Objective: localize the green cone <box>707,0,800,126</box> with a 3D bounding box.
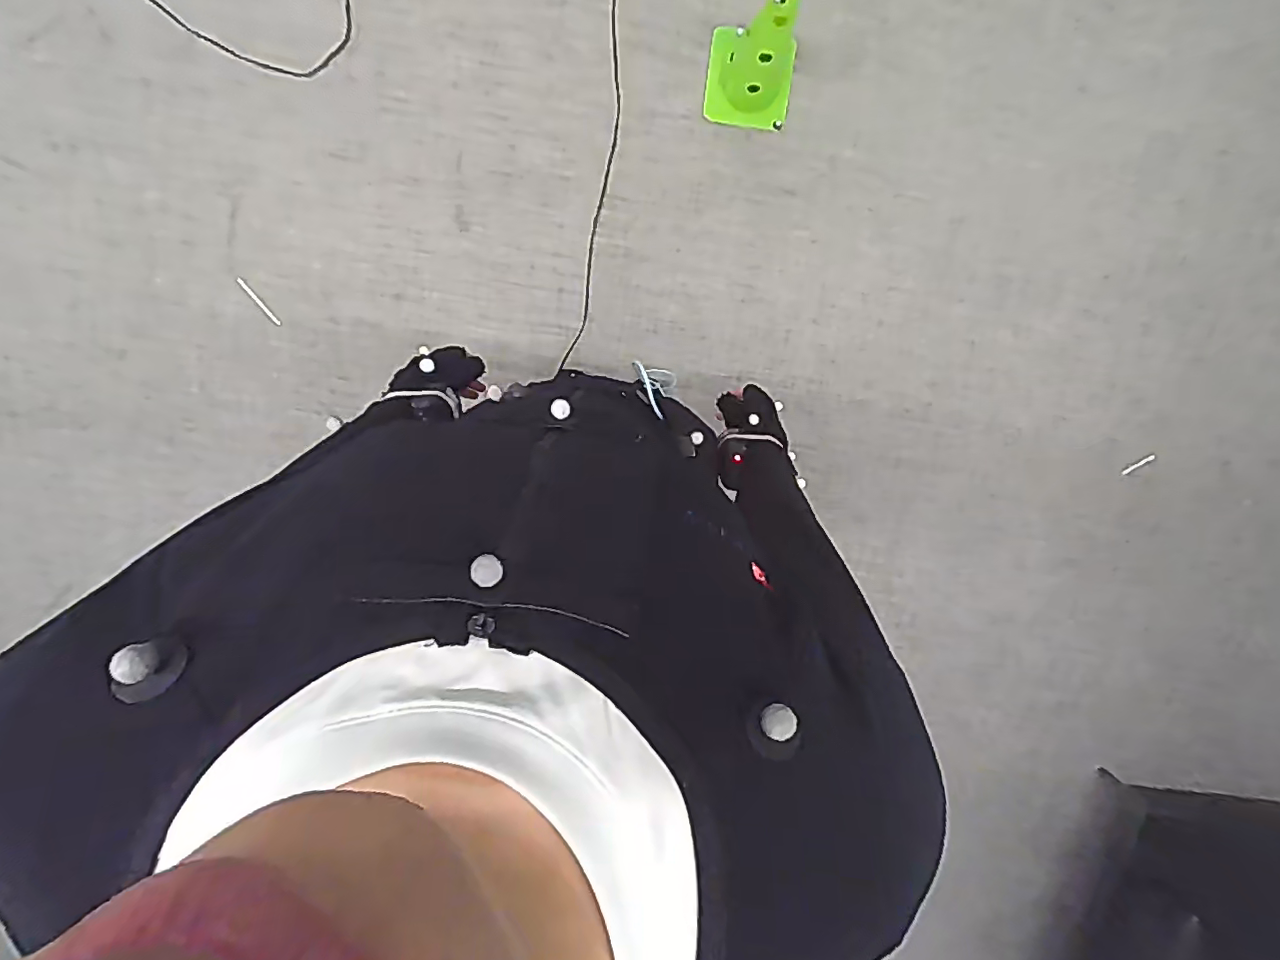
[{"bbox_3d":[0.267,-0.922,1.112,0.202,0.368,0.200,7,102,-1],"label":"green cone"}]
